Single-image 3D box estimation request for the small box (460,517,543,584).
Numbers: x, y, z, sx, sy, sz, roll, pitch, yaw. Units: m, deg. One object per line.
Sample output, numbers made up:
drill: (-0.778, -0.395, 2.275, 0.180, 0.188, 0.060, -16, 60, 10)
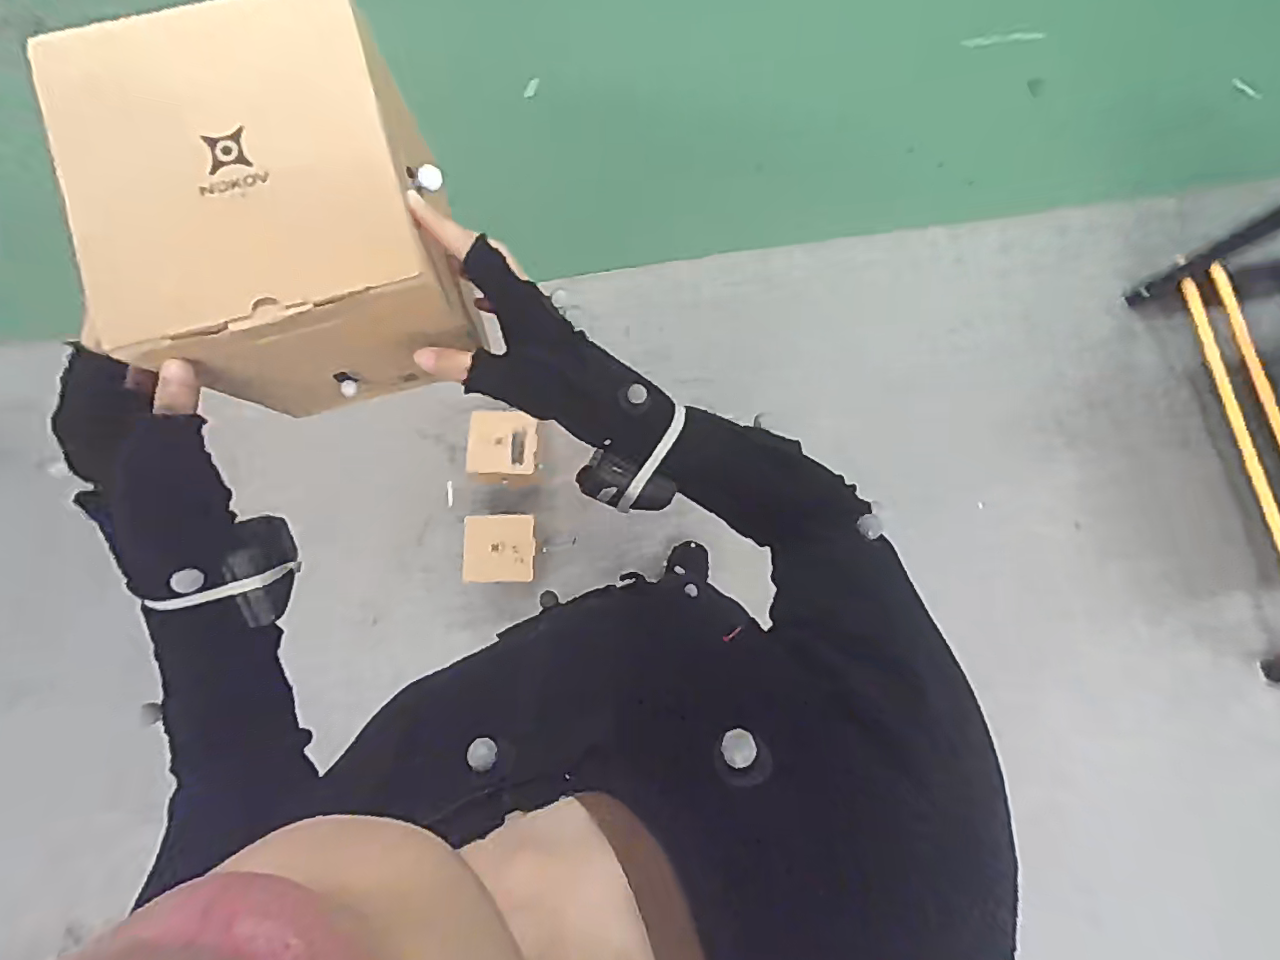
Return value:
small box: (-0.354, 0.187, 1.406, 0.179, 0.176, 0.168, -1, 81, -2)
